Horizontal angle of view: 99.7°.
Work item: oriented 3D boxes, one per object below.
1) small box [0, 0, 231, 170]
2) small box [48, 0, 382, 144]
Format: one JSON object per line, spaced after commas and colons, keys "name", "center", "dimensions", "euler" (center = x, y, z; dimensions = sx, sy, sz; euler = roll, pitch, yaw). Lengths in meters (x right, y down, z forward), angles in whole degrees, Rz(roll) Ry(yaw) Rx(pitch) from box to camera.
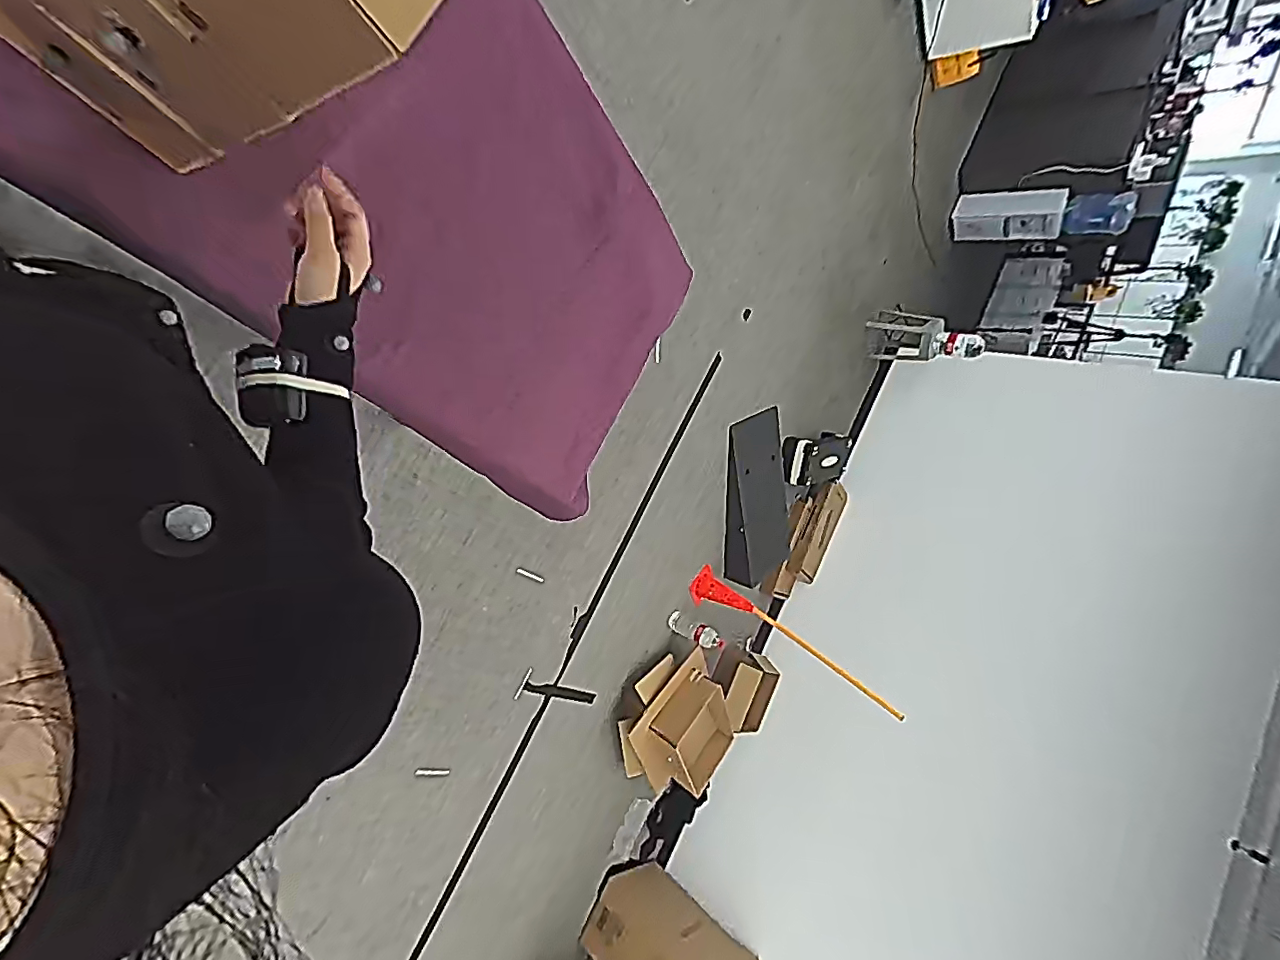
{"name": "small box", "center": [-0.434, -0.413, 0.486], "dimensions": [0.168, 0.176, 0.179], "euler": [42, 71, -50]}
{"name": "small box", "center": [-0.310, -0.378, 0.385], "dimensions": [0.168, 0.176, 0.179], "euler": [38, 75, -51]}
